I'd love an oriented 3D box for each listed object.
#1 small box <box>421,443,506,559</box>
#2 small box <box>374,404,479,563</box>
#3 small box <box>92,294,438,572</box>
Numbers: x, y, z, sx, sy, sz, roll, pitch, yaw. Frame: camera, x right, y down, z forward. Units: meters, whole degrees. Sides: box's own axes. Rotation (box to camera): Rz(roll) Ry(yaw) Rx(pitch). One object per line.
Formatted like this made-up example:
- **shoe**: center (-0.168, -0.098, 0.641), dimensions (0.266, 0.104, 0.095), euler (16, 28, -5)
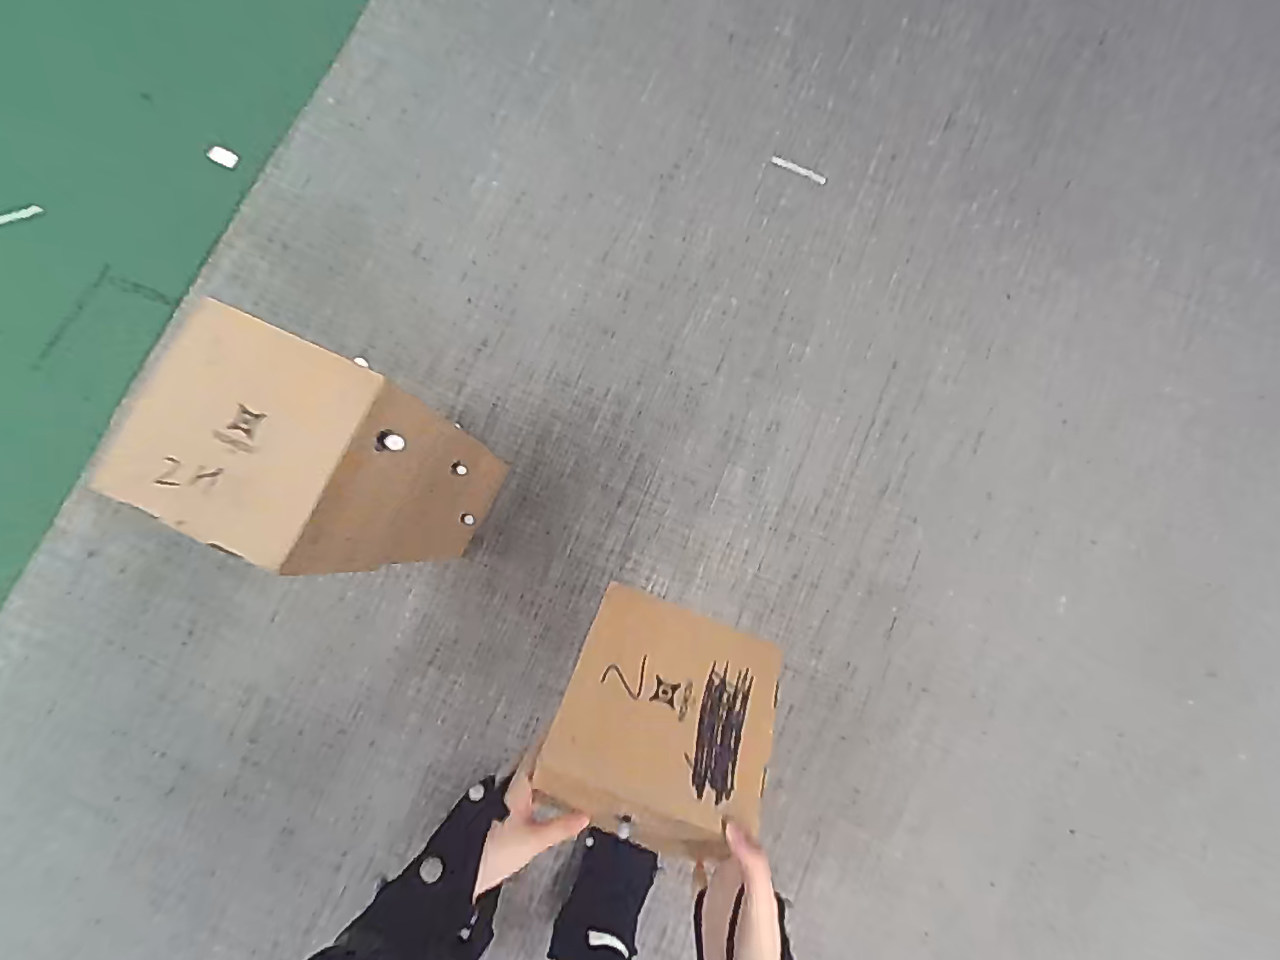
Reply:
- **small box**: center (-0.325, 0.005, 0.824), dimensions (0.168, 0.176, 0.179), euler (27, 83, 1)
- **small box**: center (-0.318, -0.013, 0.663), dimensions (0.168, 0.176, 0.179), euler (24, 84, 2)
- **small box**: center (-0.312, -0.030, 0.499), dimensions (0.168, 0.176, 0.179), euler (24, 82, 3)
